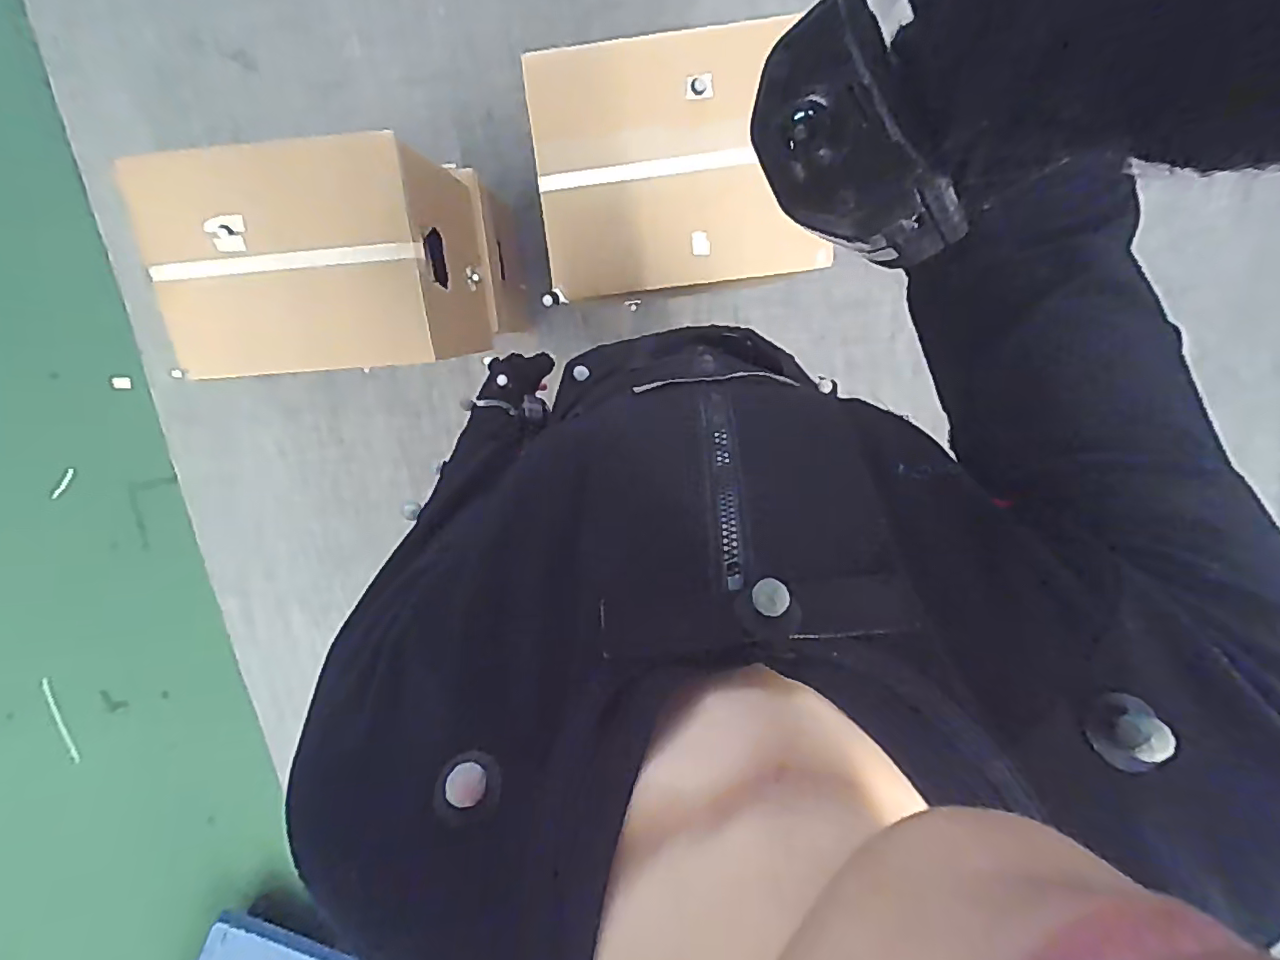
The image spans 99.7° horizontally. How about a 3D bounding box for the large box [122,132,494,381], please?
[{"bbox_3d":[-0.510,-0.357,0.928,0.408,0.320,0.320,-3,106,3],"label":"large box"}]
